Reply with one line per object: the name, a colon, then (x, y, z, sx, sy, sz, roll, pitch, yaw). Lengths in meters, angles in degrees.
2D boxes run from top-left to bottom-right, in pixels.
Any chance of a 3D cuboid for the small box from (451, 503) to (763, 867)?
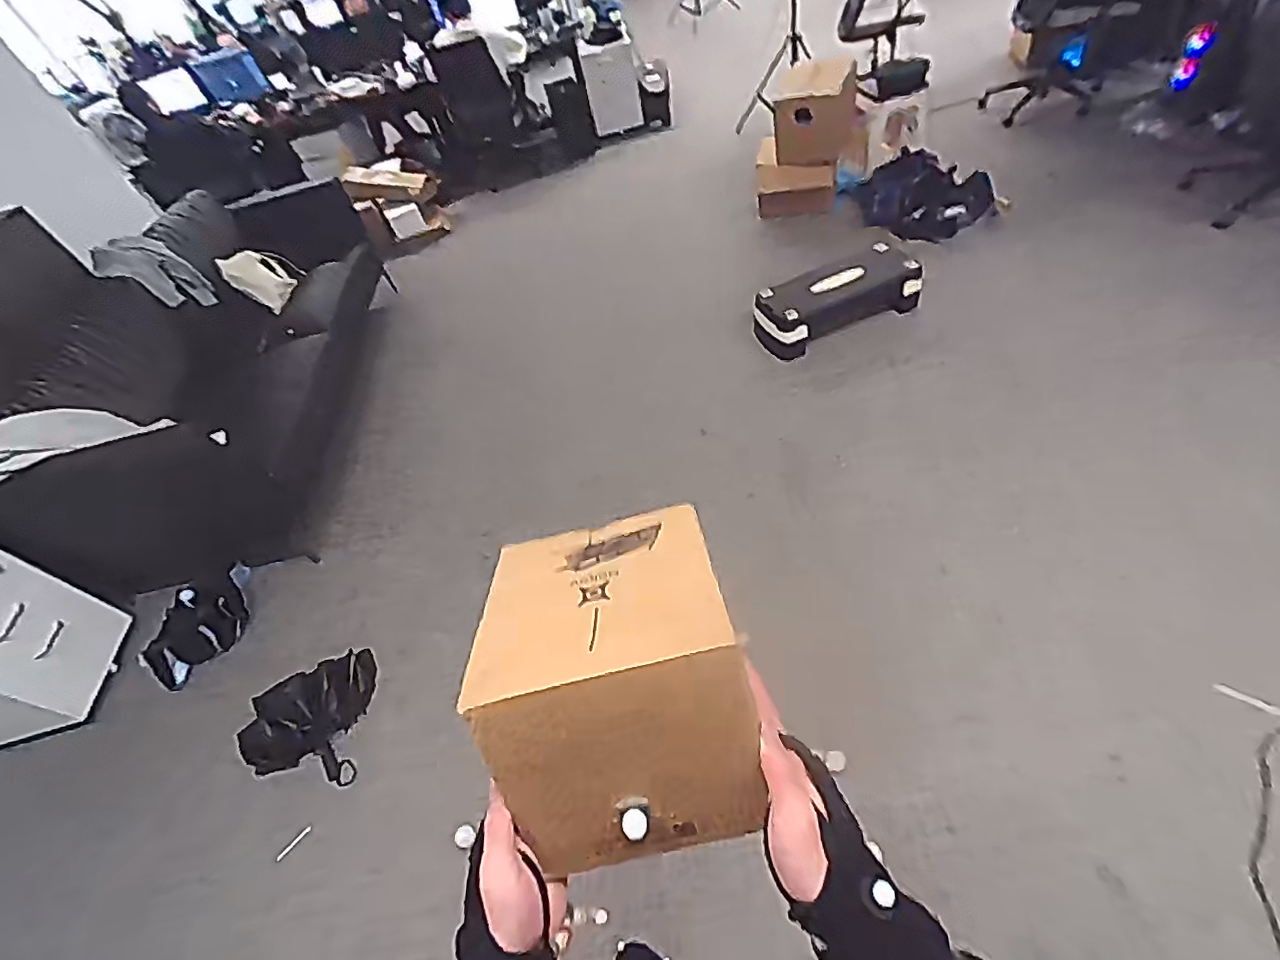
small box: (-0.015, 0.144, 0.410, 0.168, 0.176, 0.179, -14, 26, 3)
